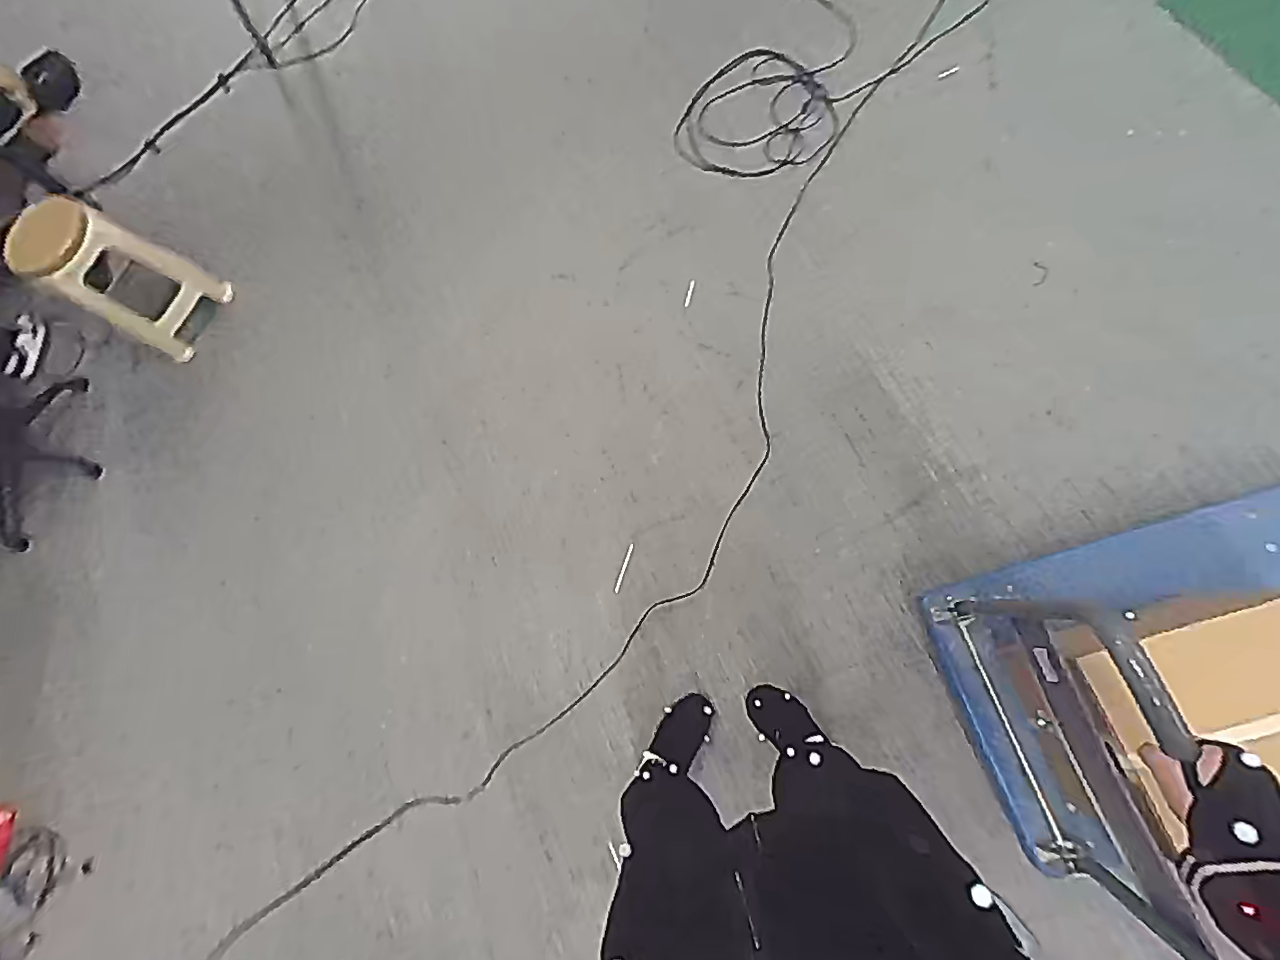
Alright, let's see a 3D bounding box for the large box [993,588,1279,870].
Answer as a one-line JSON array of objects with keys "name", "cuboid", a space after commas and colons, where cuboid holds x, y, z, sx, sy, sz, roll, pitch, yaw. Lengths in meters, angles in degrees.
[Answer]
[{"name": "large box", "cuboid": [0.958, 0.411, 0.964, 0.408, 0.320, 0.320, -20, 72, 6]}]
